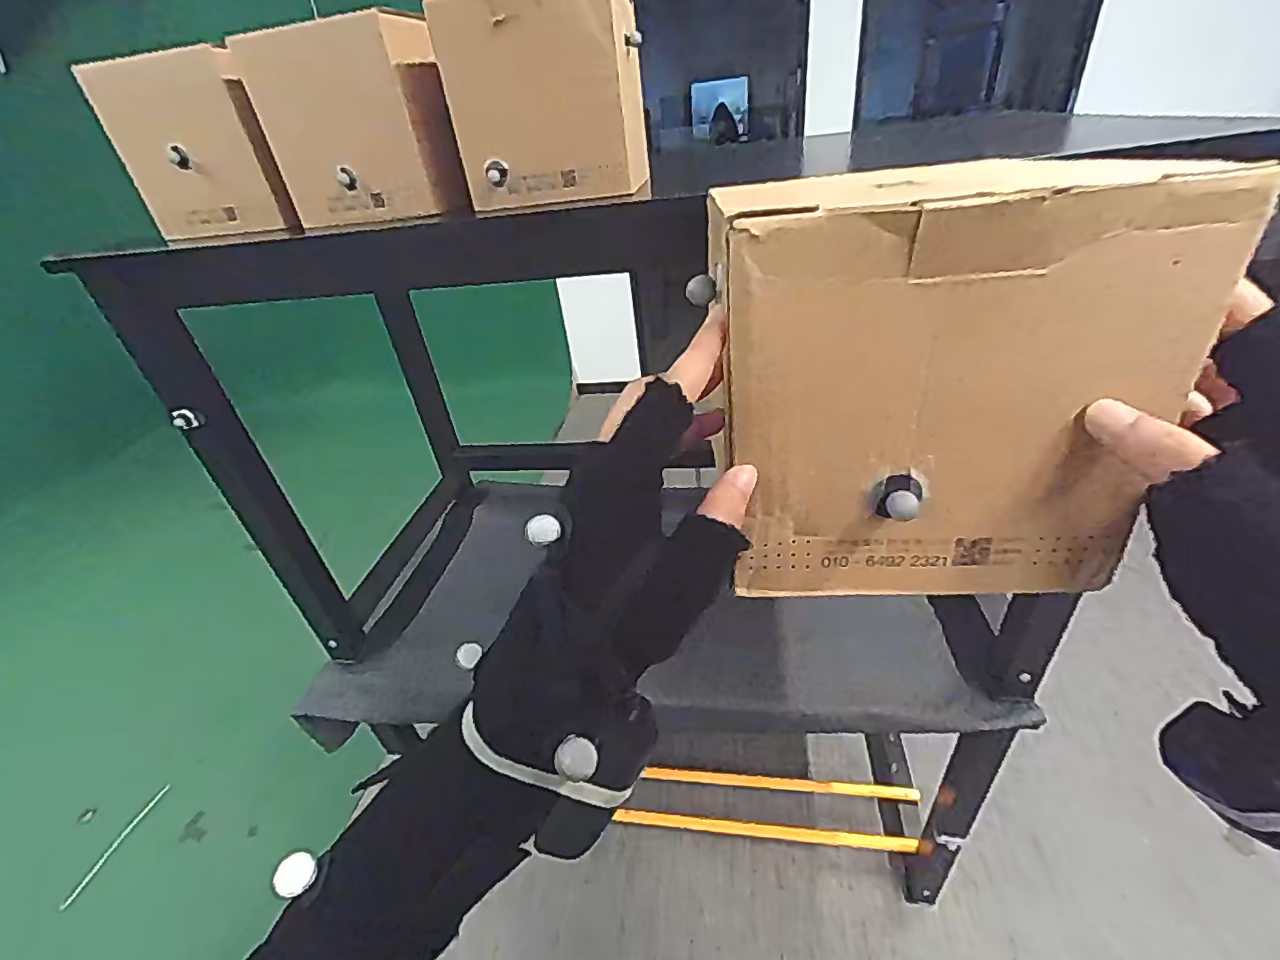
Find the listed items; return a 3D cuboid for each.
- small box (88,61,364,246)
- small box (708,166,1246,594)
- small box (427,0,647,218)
[{"bbox_3d":[-0.475,-0.388,0.659,0.168,0.176,0.179,0,33,10],"label":"small box"},{"bbox_3d":[0.120,-0.061,0.286,0.168,0.176,0.179,-3,30,7],"label":"small box"},{"bbox_3d":[-0.087,-0.381,0.569,0.168,0.176,0.179,-2,32,9],"label":"small box"}]
